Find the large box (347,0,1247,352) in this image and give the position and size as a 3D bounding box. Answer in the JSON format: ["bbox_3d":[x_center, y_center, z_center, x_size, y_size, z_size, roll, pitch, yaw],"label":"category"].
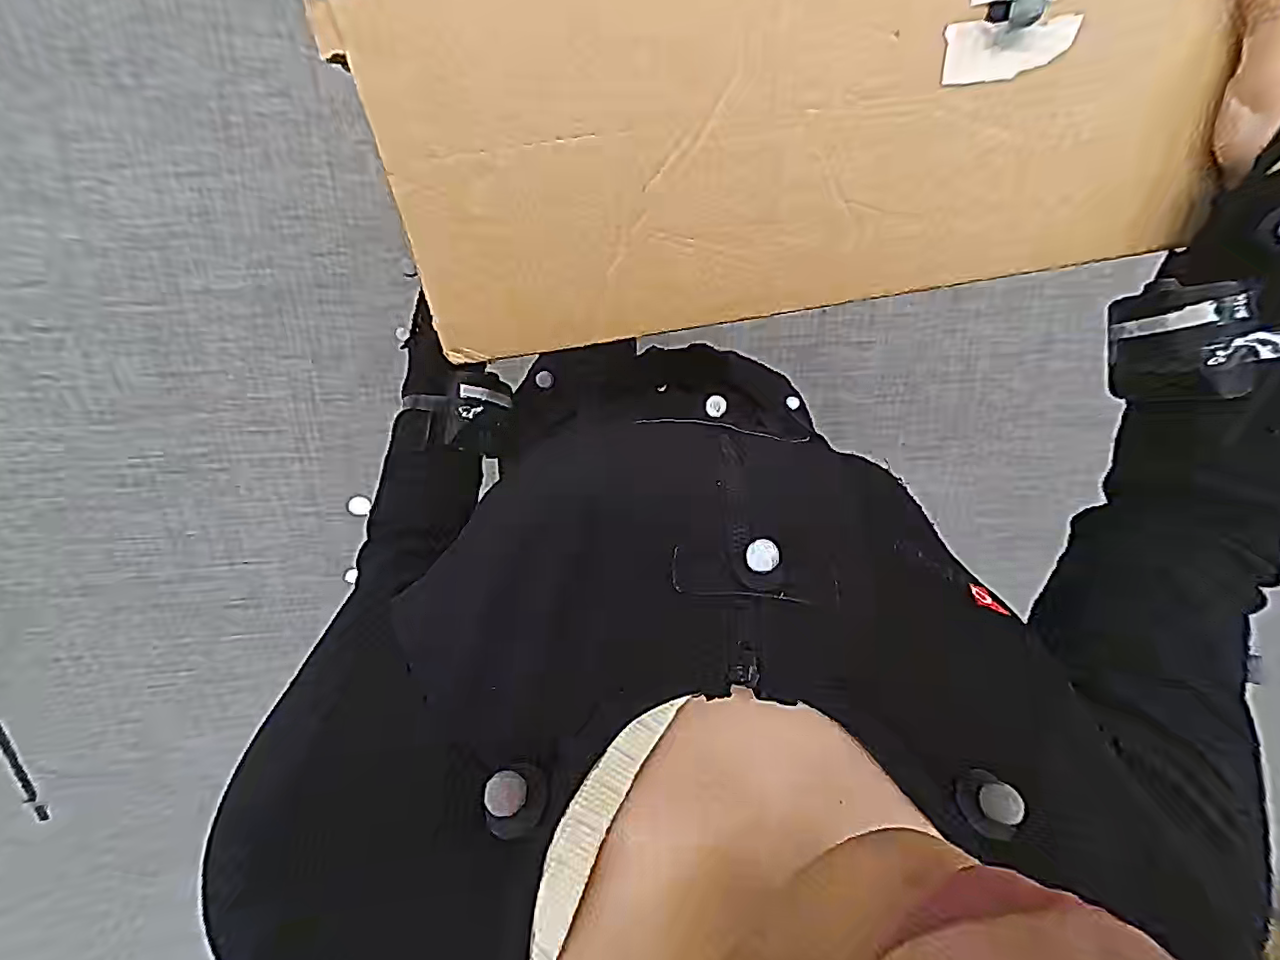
[{"bbox_3d":[0.054,-0.307,0.337,0.408,0.320,0.320,-11,123,-4],"label":"large box"}]
